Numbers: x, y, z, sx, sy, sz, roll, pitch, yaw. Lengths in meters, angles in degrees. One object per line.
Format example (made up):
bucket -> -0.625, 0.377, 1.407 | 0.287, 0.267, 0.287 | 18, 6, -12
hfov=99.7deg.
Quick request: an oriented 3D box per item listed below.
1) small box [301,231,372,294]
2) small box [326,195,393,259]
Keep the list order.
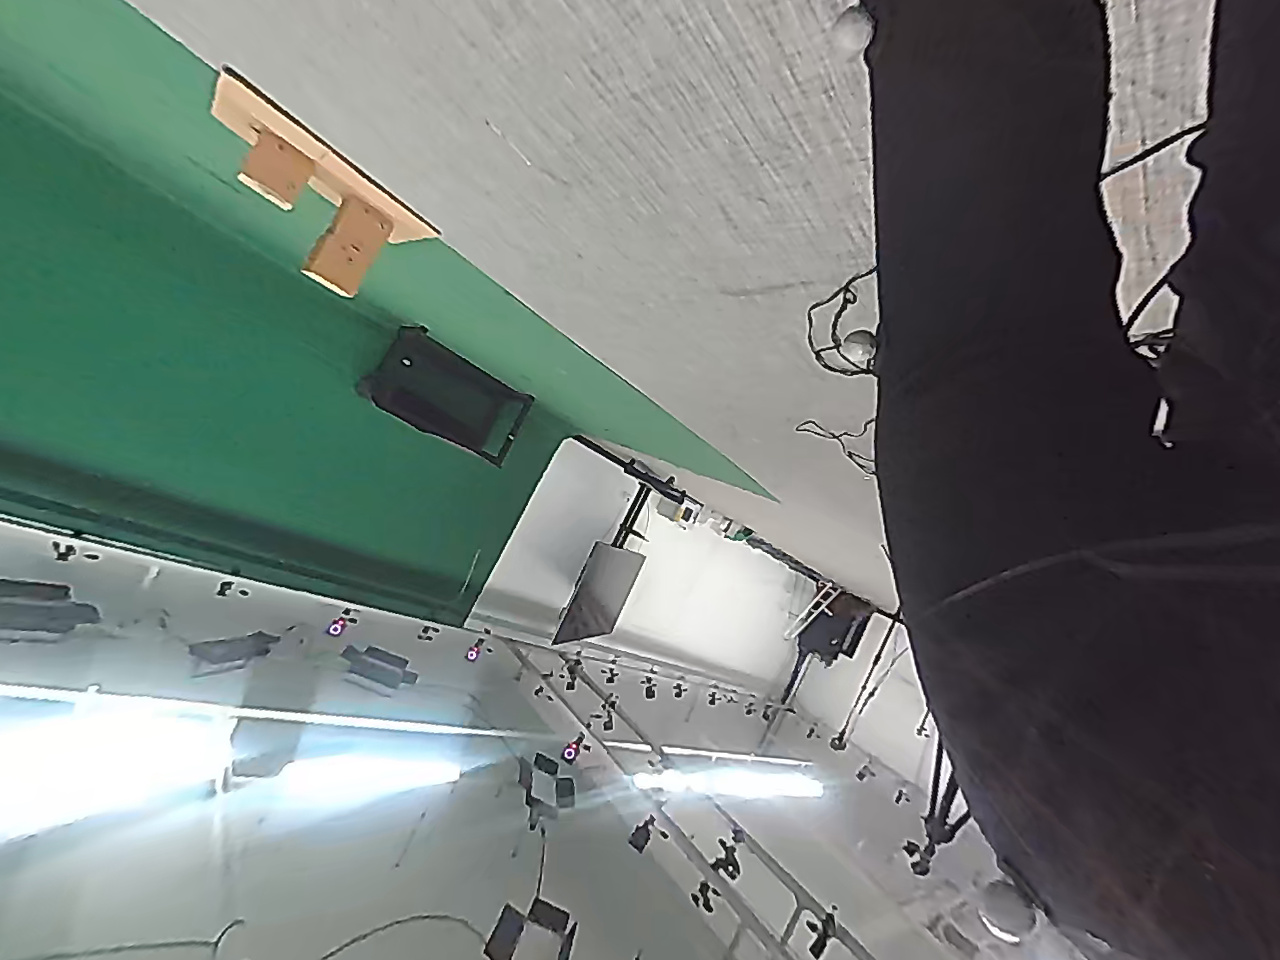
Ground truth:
small box -> -1.188, -0.855, 2.121 | 0.179, 0.176, 0.168 | 24, 174, 44
small box -> -1.101, -0.993, 2.126 | 0.179, 0.176, 0.168 | 25, 176, 45
